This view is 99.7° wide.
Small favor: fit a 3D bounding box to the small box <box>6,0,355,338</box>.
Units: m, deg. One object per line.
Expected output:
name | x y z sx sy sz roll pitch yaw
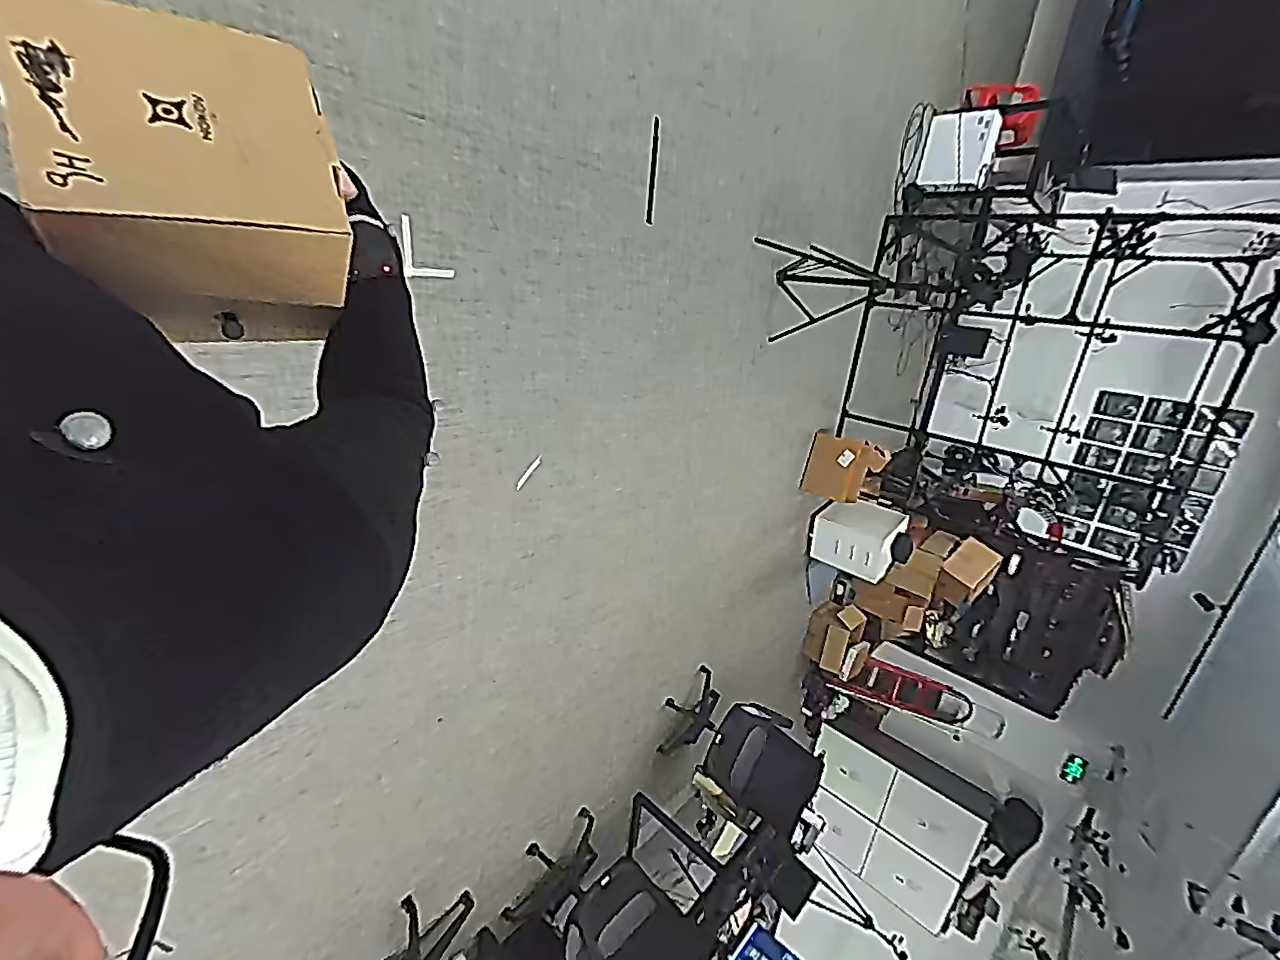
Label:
small box | -0.359 -0.231 0.451 0.179 0.176 0.168 -12 81 -35
